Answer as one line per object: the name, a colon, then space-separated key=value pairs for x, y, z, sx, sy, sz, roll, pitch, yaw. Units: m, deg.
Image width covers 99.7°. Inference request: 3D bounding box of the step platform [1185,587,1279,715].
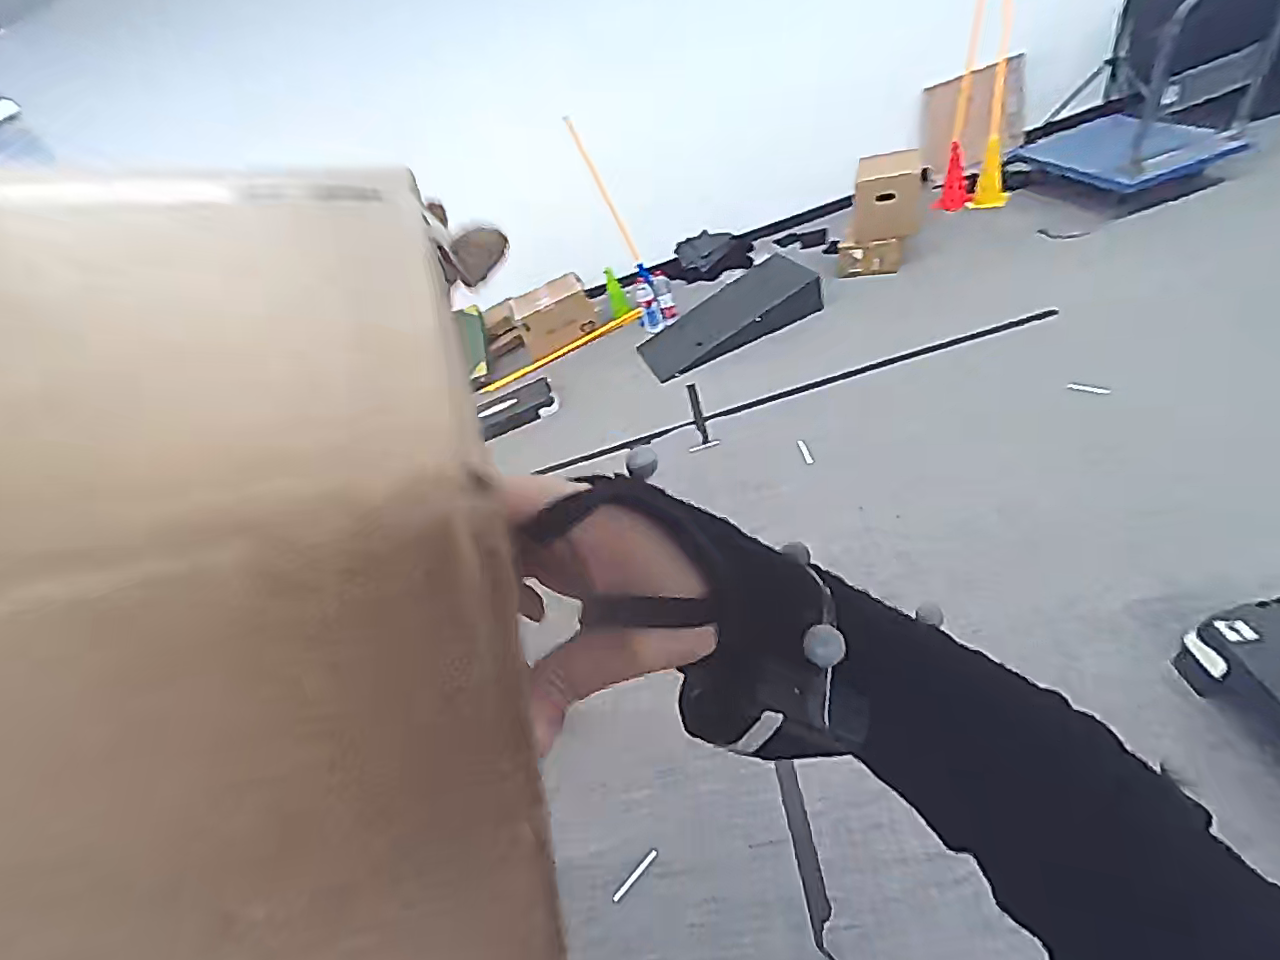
step platform: x=1.386 y=0.512 z=0.973 sx=0.286 sy=0.204 sz=0.684 roll=-13 pitch=39 yaw=14
